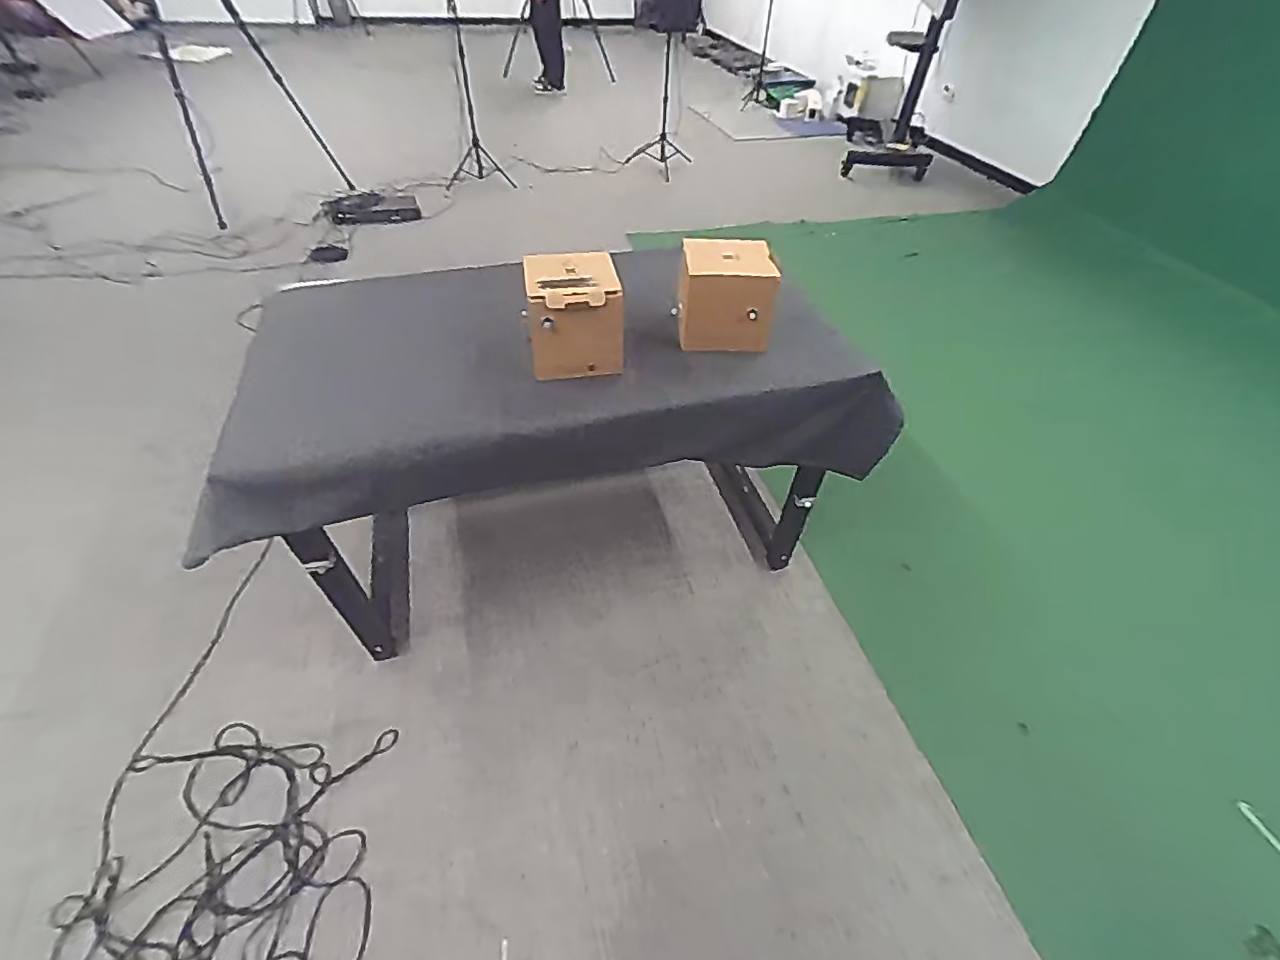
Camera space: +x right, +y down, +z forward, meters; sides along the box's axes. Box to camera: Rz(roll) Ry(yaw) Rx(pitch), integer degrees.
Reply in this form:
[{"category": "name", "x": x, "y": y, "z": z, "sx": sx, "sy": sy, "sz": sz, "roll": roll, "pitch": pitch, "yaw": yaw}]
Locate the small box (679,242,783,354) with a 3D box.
[{"category": "small box", "x": 0.178, "y": -0.373, "z": 1.118, "sx": 0.179, "sy": 0.176, "sz": 0.168, "roll": -1, "pitch": 46, "yaw": -2}]
